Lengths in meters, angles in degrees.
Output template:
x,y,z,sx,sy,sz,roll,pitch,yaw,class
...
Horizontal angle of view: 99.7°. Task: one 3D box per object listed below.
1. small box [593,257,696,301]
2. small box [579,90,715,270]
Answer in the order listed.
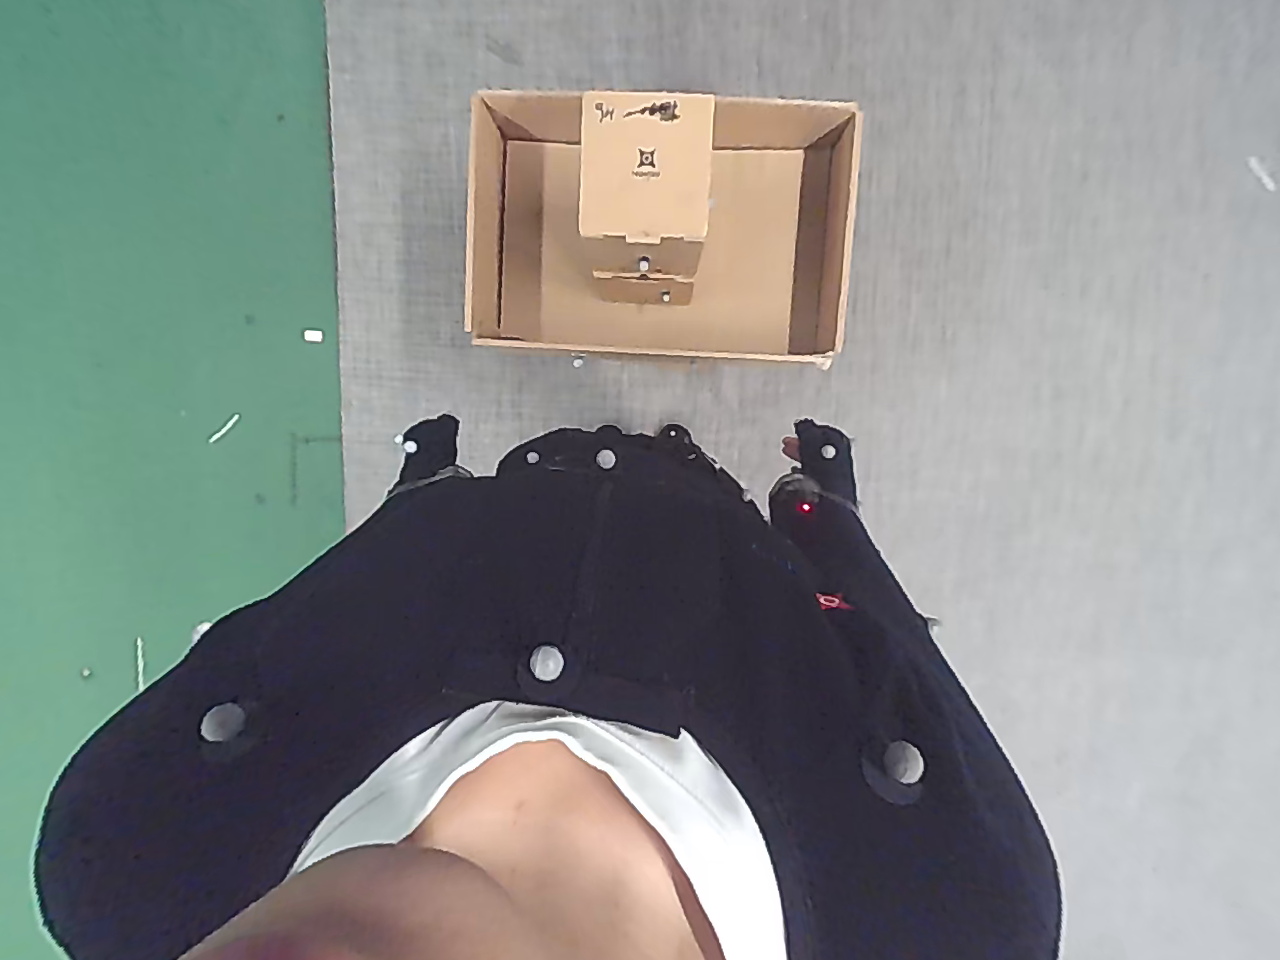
x,y,z,sx,sy,sz,roll,pitch,yaw,class
0.015,-0.413,0.923,0.168,0.176,0.179,3,94,1,small box
0.011,-0.404,0.759,0.168,0.176,0.179,3,97,1,small box
